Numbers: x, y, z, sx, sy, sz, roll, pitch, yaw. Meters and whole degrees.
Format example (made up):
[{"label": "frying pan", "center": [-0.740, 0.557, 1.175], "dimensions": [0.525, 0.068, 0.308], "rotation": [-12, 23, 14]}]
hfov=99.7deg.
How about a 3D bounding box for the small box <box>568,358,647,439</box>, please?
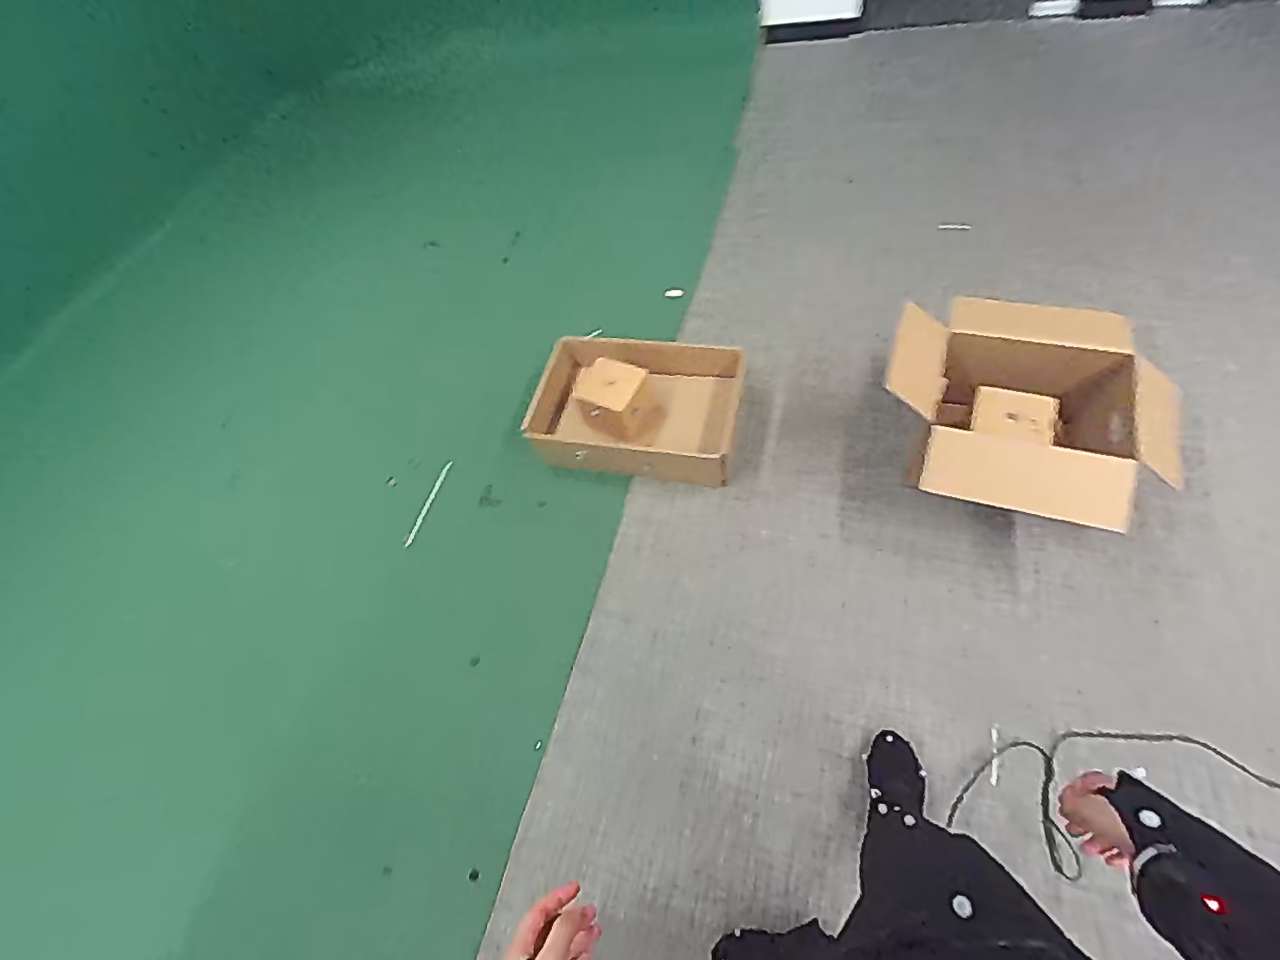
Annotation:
[{"label": "small box", "center": [-0.094, -0.250, 1.703], "dimensions": [0.179, 0.176, 0.168], "rotation": [20, 66, 20]}]
